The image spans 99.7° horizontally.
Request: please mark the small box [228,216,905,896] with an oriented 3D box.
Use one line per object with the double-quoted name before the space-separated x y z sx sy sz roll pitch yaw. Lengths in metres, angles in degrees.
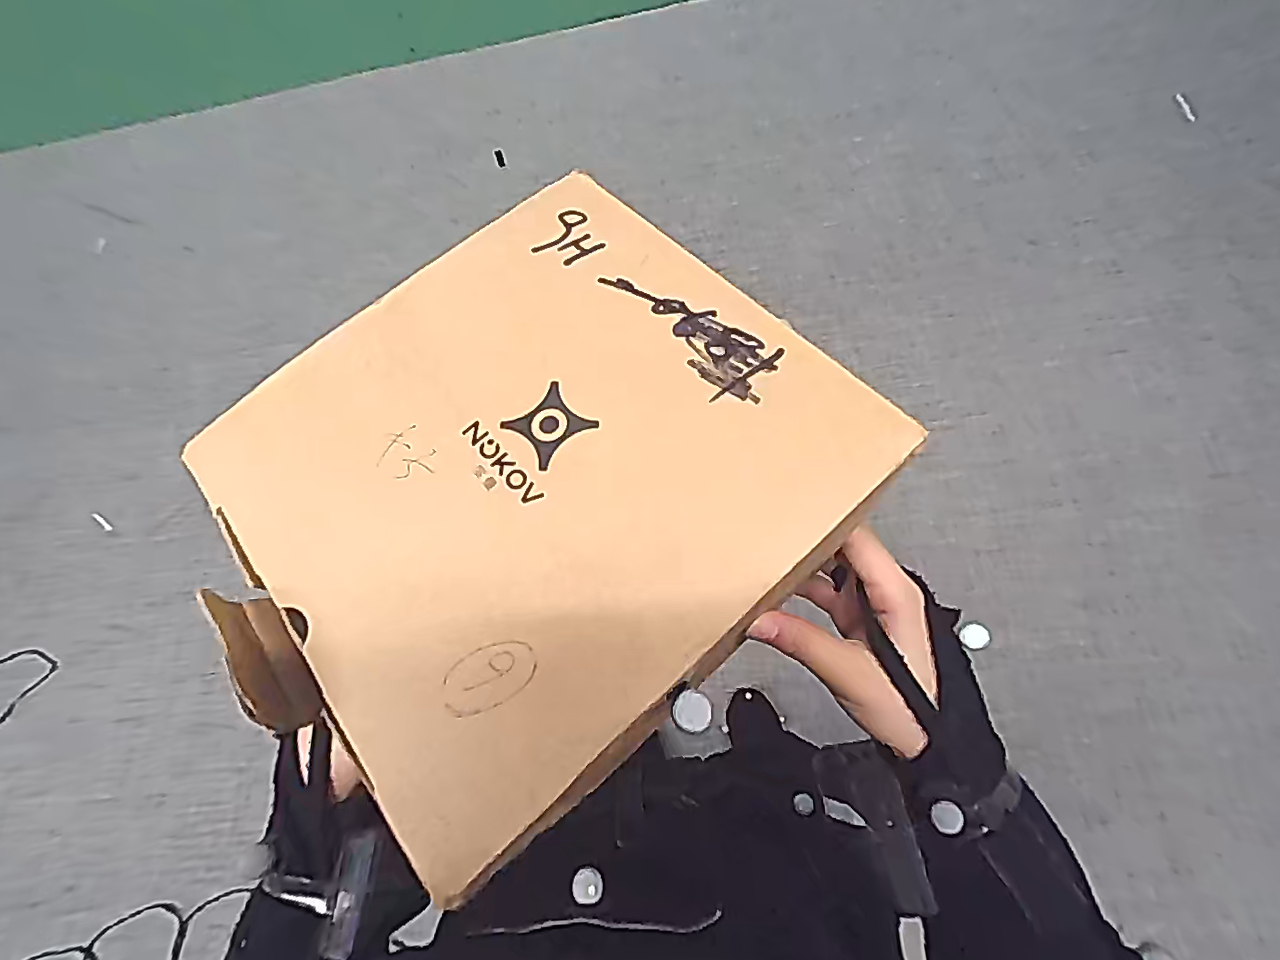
"small box" -0.023 0.030 0.253 0.179 0.176 0.168 -41 70 -11
